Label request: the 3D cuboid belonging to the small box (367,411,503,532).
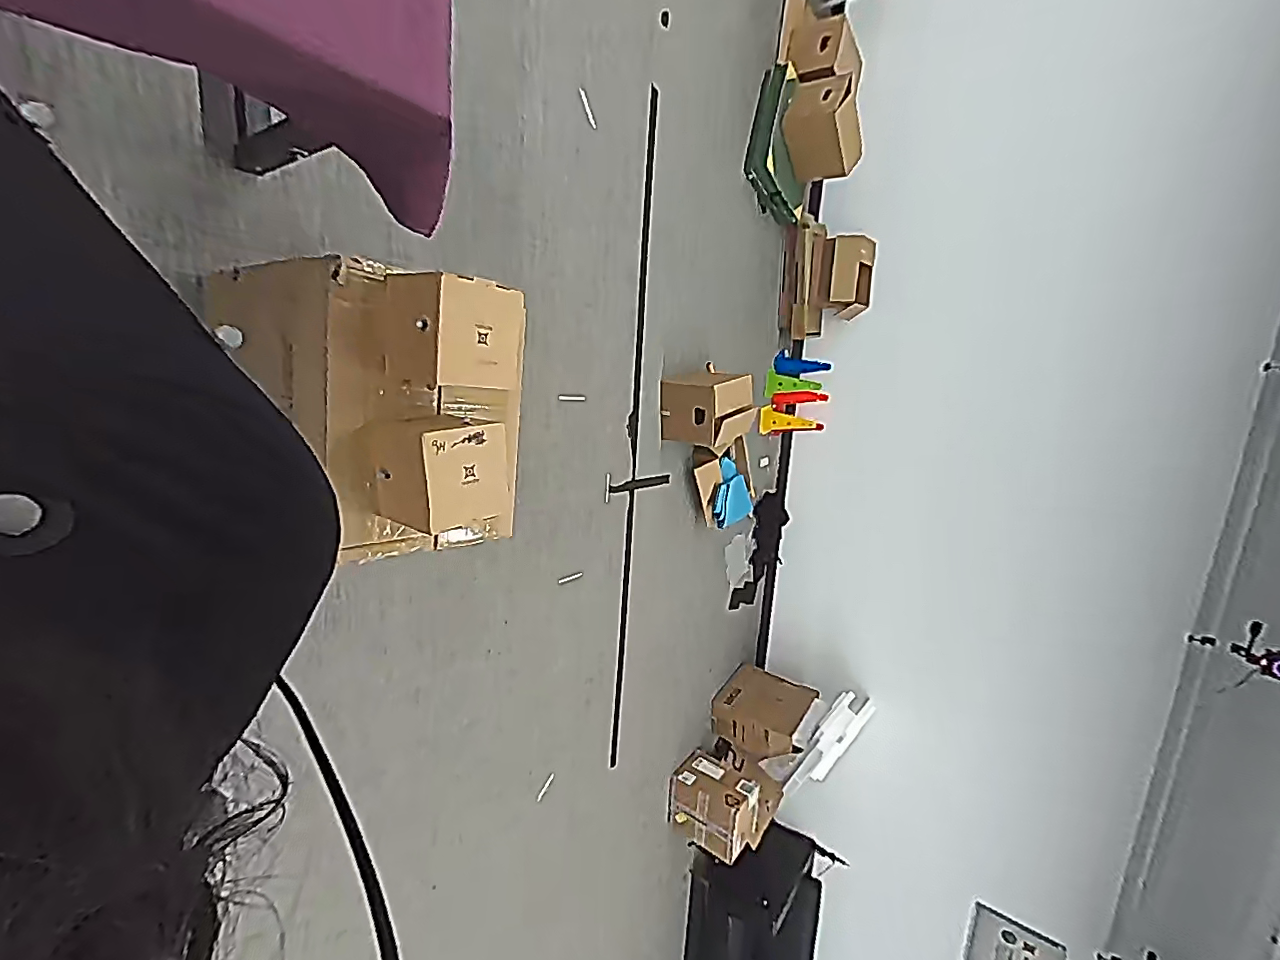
[{"bbox_3d":[-0.367,-0.024,0.973,0.168,0.176,0.179,-17,113,-51],"label":"small box"}]
